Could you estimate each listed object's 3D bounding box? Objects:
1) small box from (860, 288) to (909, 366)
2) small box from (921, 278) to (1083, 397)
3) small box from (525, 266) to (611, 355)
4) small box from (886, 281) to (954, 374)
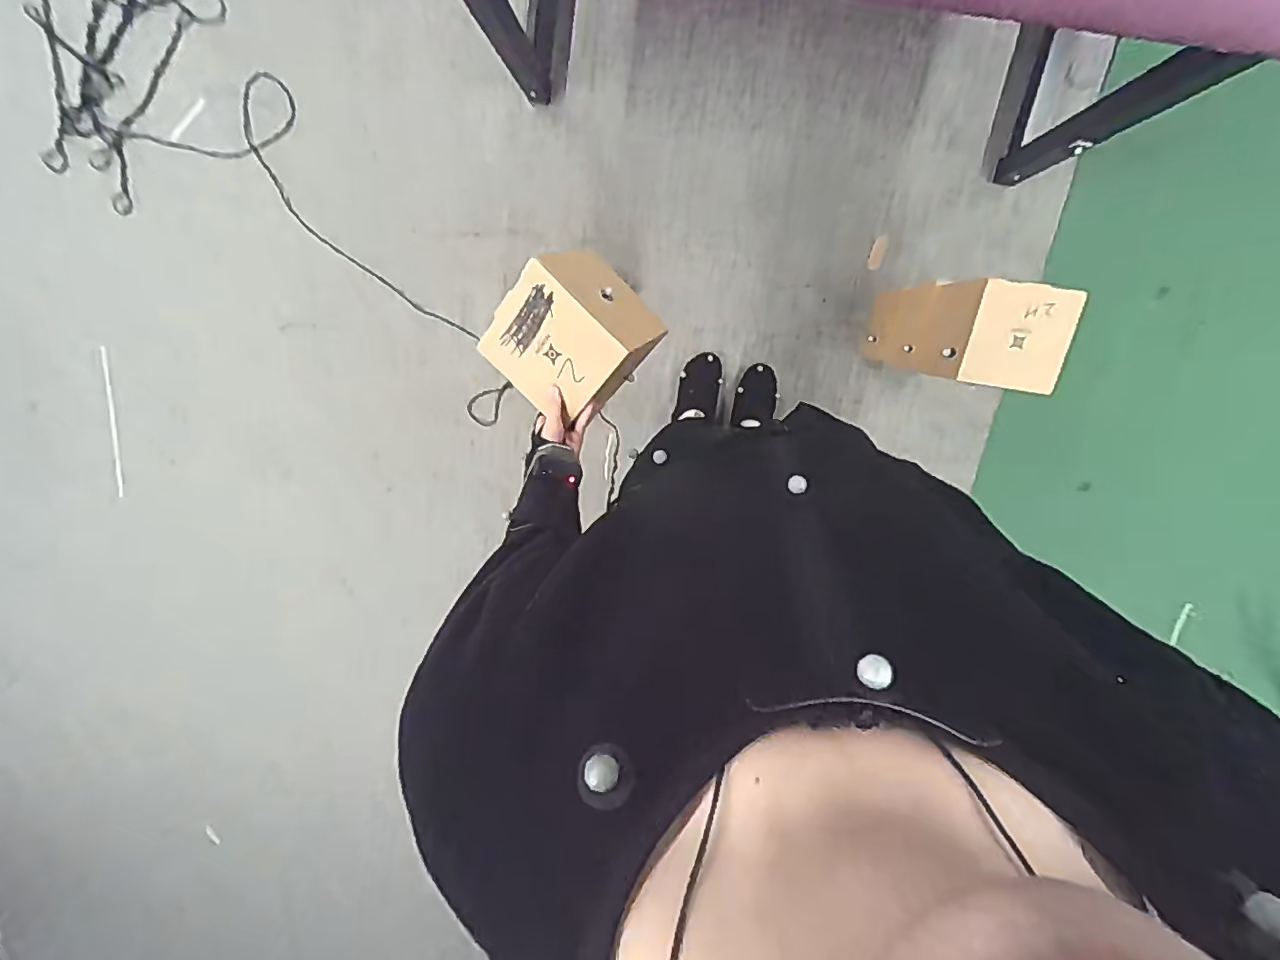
[{"bbox_3d":[0.657,-0.355,1.308,0.179,0.176,0.168,11,105,2],"label":"small box"},{"bbox_3d":[0.647,-0.261,0.995,0.168,0.176,0.179,10,105,2],"label":"small box"},{"bbox_3d":[-0.175,-0.423,1.364,0.168,0.176,0.179,14,105,1],"label":"small box"},{"bbox_3d":[0.648,-0.314,1.152,0.168,0.176,0.179,9,106,3],"label":"small box"}]
